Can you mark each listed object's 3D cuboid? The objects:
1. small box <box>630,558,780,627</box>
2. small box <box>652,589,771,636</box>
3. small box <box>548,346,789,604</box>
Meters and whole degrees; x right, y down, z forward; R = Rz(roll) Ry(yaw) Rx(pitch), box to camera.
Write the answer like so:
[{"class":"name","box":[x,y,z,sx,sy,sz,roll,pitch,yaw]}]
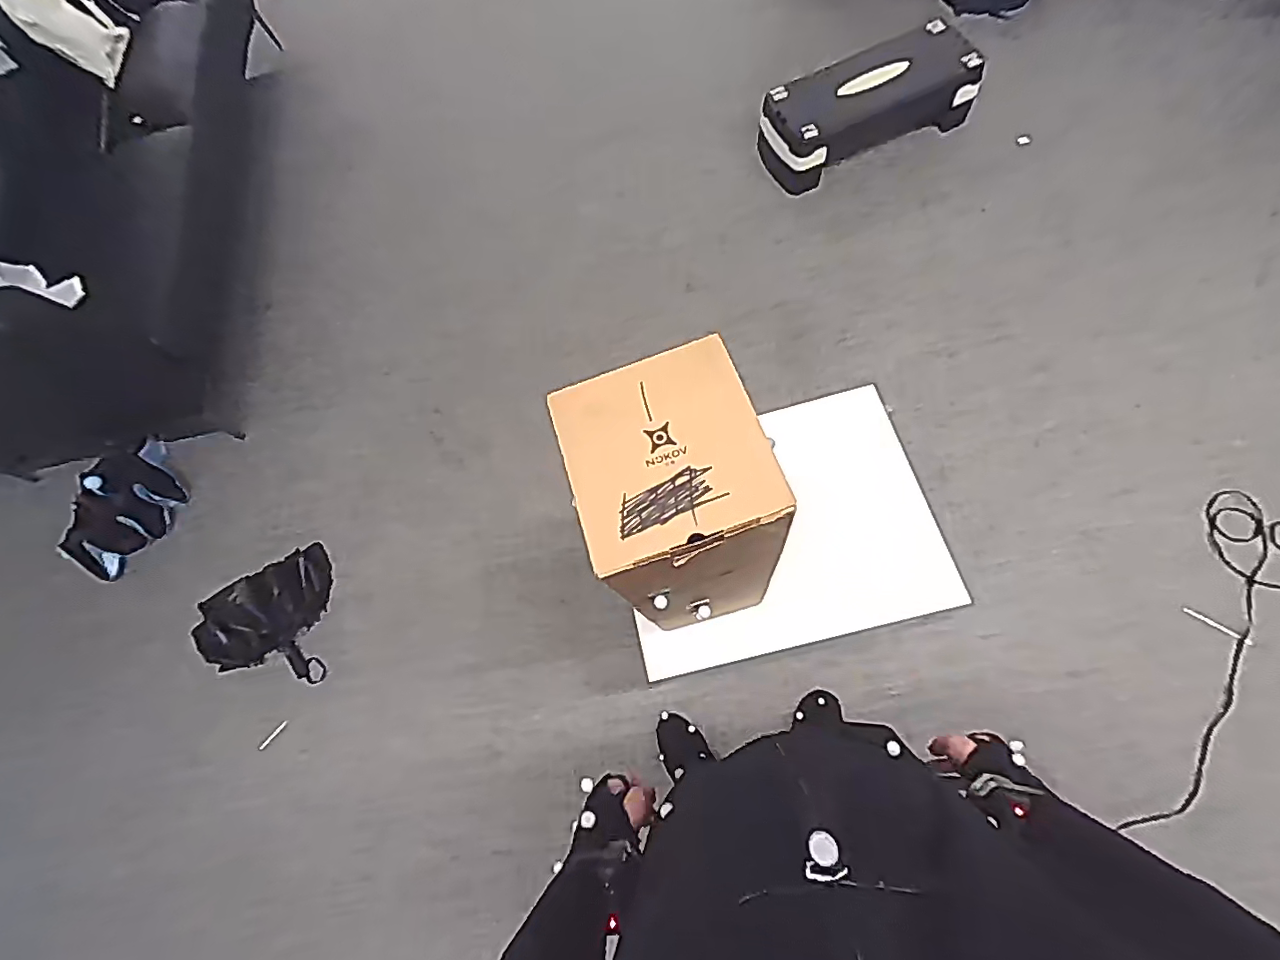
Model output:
[{"class":"small box","box":[0.059,0.069,0.673,0.168,0.176,0.179,-19,68,3]},{"class":"small box","box":[0.087,0.126,0.824,0.168,0.176,0.179,-17,68,3]},{"class":"small box","box":[0.031,0.011,0.522,0.168,0.176,0.179,-20,65,2]}]
